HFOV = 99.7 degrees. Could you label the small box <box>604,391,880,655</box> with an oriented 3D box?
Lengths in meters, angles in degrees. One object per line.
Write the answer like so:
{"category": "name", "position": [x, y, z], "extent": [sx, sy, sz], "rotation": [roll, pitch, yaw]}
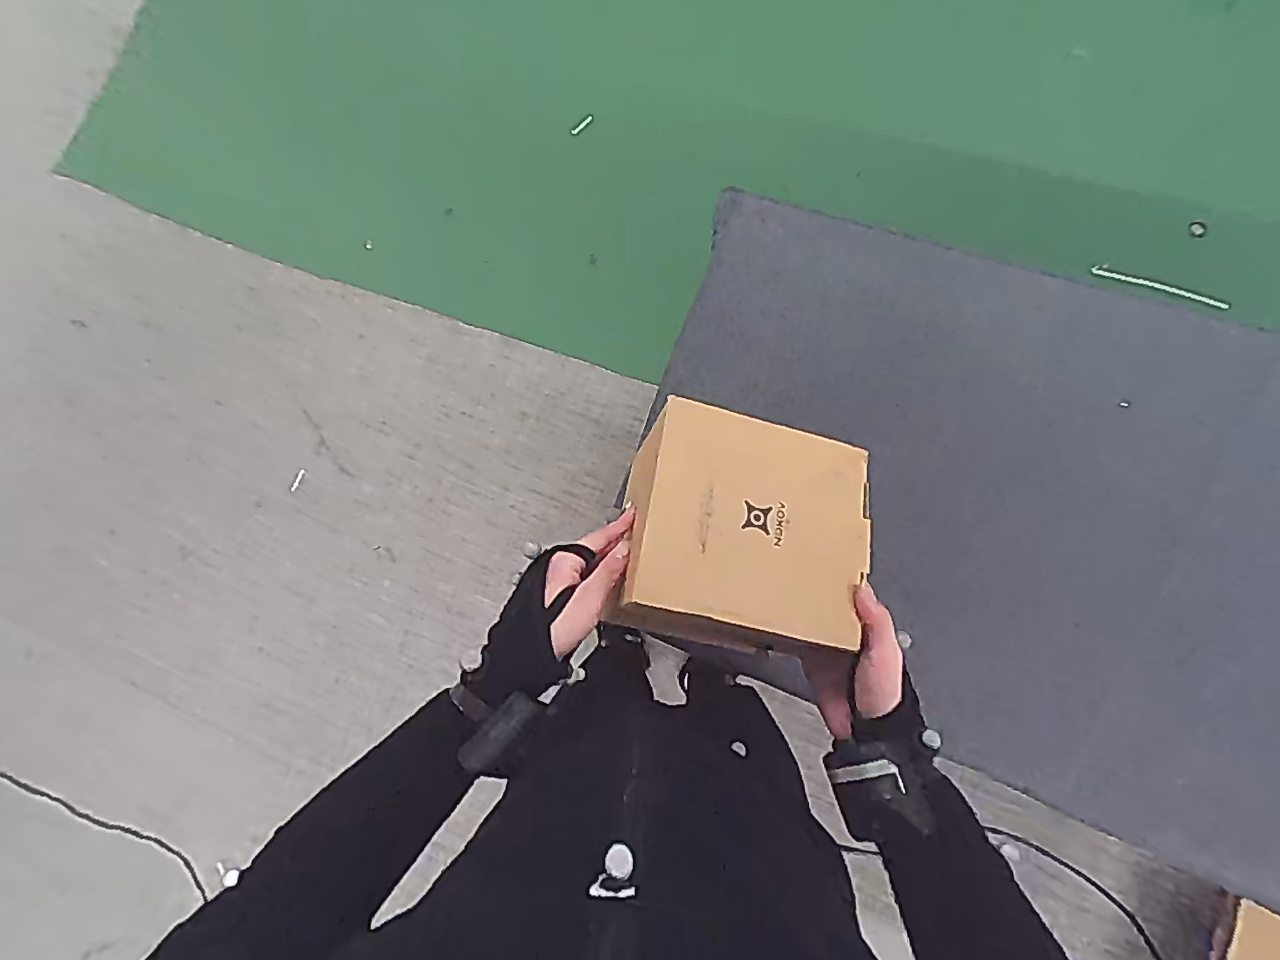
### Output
{"category": "small box", "position": [0.078, 0.050, 0.469], "extent": [0.179, 0.176, 0.168], "rotation": [14, 70, -8]}
